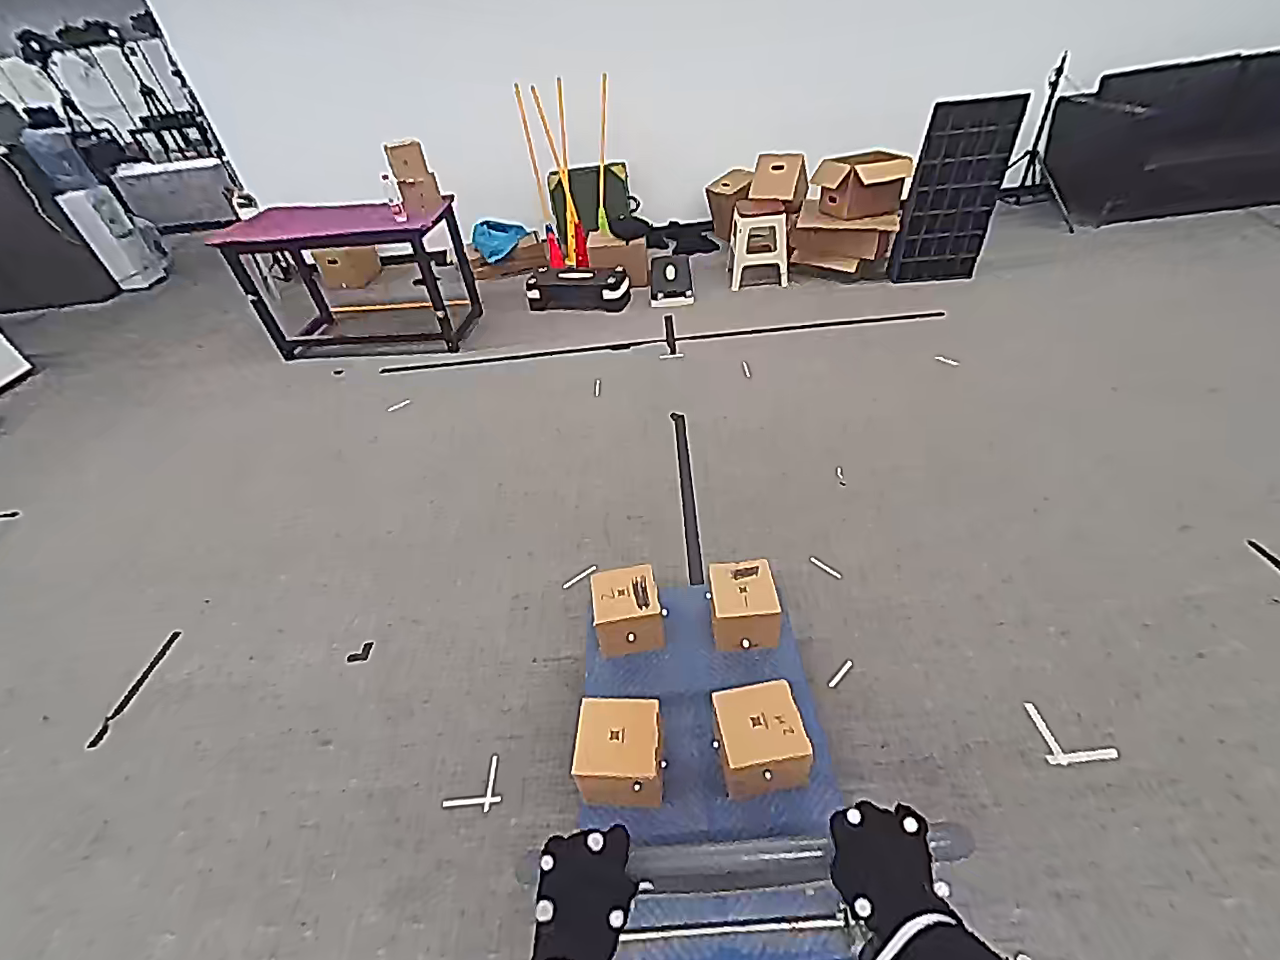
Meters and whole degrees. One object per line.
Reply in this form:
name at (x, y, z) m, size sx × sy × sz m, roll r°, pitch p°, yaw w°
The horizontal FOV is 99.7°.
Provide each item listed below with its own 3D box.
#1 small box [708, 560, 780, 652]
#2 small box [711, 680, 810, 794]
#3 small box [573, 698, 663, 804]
small box at (0.277, 0.344, 1.477) m, size 0.168 × 0.176 × 0.179 m, roll -6°, pitch 42°, yaw 2°
small box at (0.263, 0.578, 1.210) m, size 0.179 × 0.176 × 0.168 m, roll -9°, pitch 41°, yaw -2°
small box at (-0.043, 0.611, 1.218) m, size 0.179 × 0.176 × 0.168 m, roll -1°, pitch 41°, yaw 5°
